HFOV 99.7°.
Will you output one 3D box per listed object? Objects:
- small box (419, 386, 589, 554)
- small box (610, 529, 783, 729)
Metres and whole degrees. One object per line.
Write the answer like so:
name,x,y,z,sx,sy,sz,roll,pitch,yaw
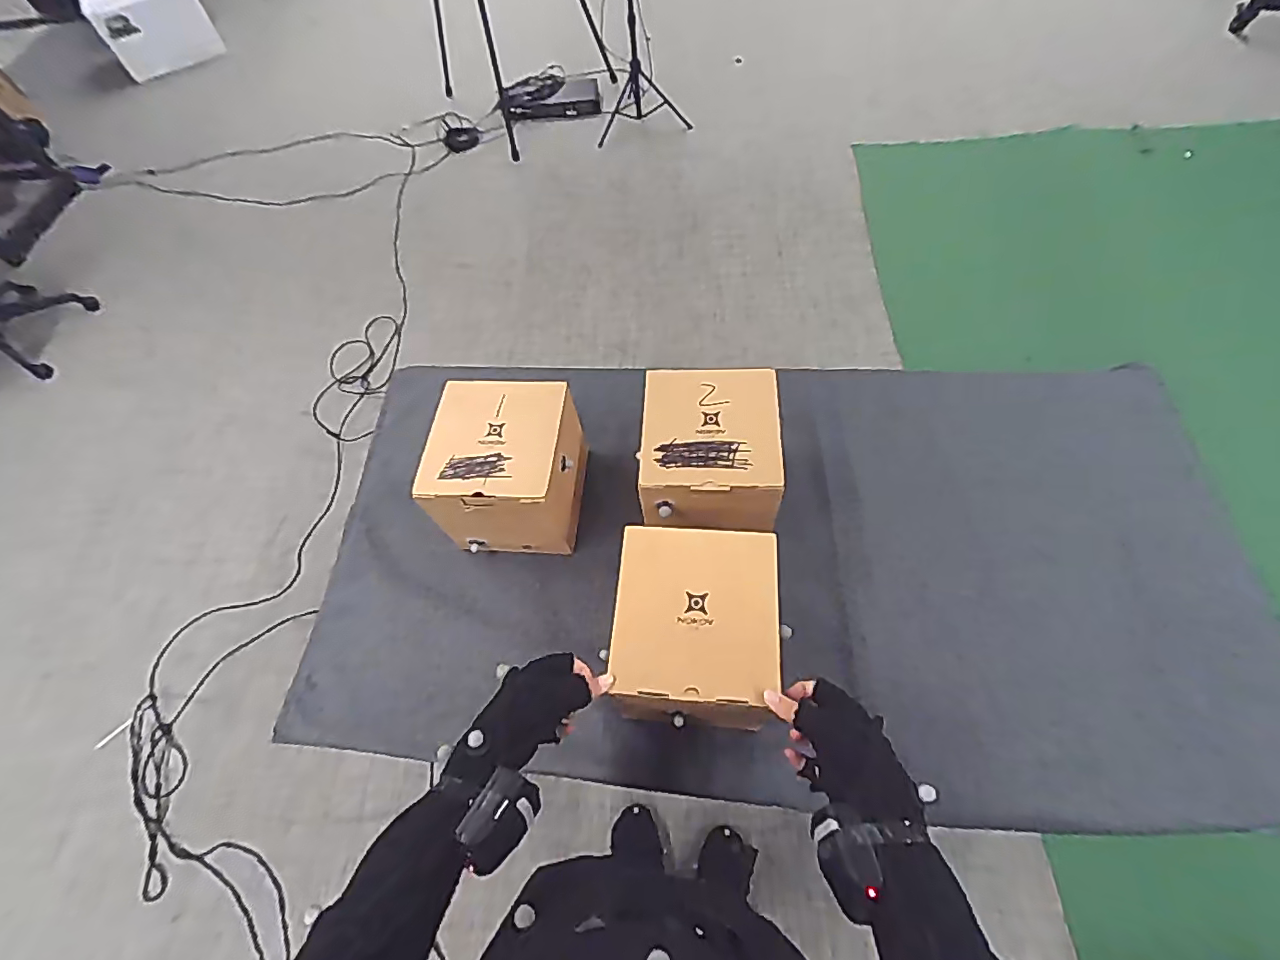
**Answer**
small box,-0.170,-0.009,0.745,0.168,0.176,0.179,2,60,6
small box,0.066,0.173,0.618,0.168,0.176,0.179,3,60,7
